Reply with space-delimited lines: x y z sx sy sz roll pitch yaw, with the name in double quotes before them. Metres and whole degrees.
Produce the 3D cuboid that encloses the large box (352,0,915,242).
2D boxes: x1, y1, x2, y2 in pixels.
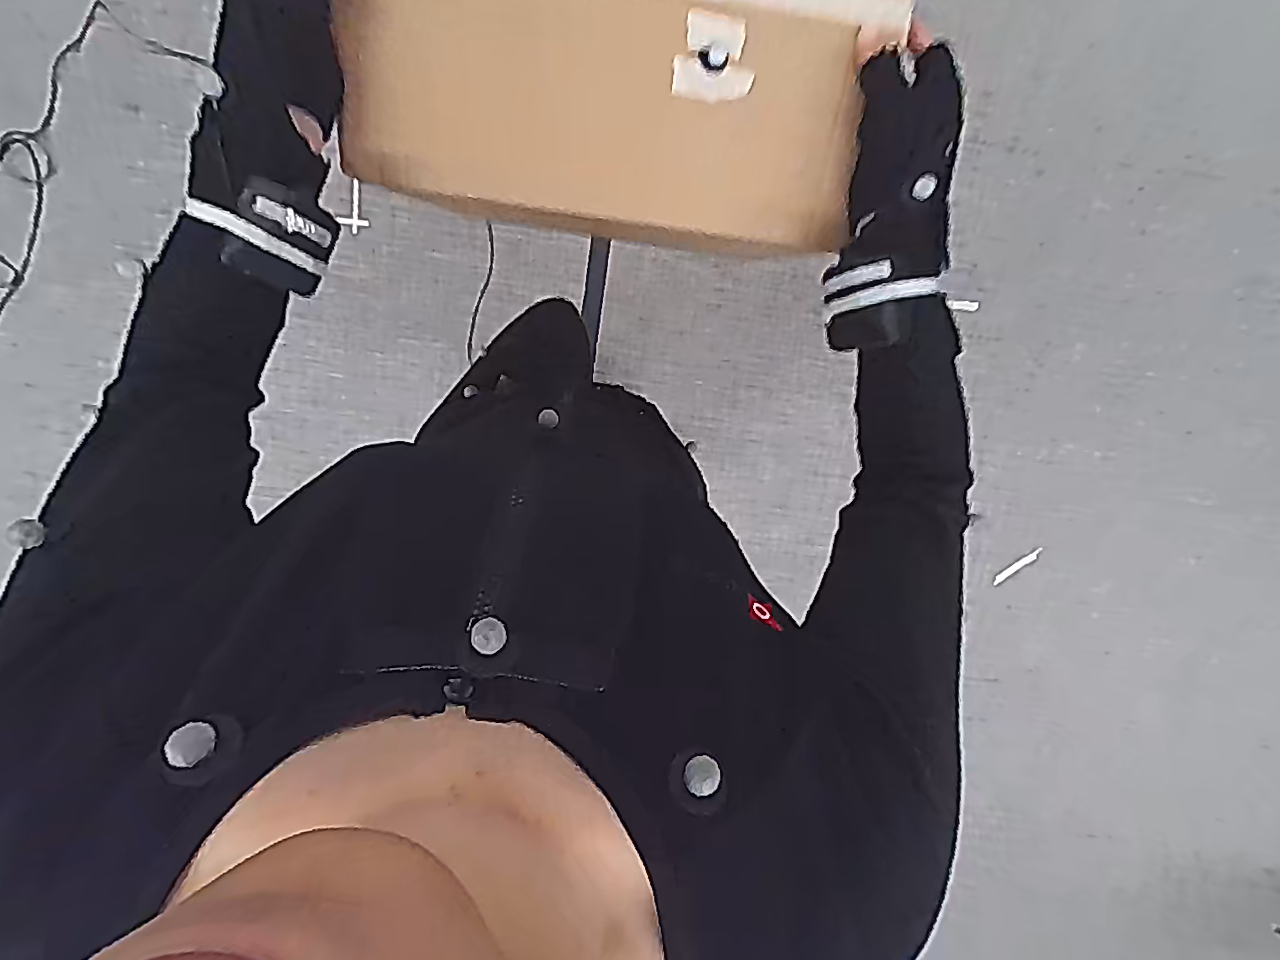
"large box" -0.006 -0.419 0.510 0.408 0.320 0.320 6 112 -5
